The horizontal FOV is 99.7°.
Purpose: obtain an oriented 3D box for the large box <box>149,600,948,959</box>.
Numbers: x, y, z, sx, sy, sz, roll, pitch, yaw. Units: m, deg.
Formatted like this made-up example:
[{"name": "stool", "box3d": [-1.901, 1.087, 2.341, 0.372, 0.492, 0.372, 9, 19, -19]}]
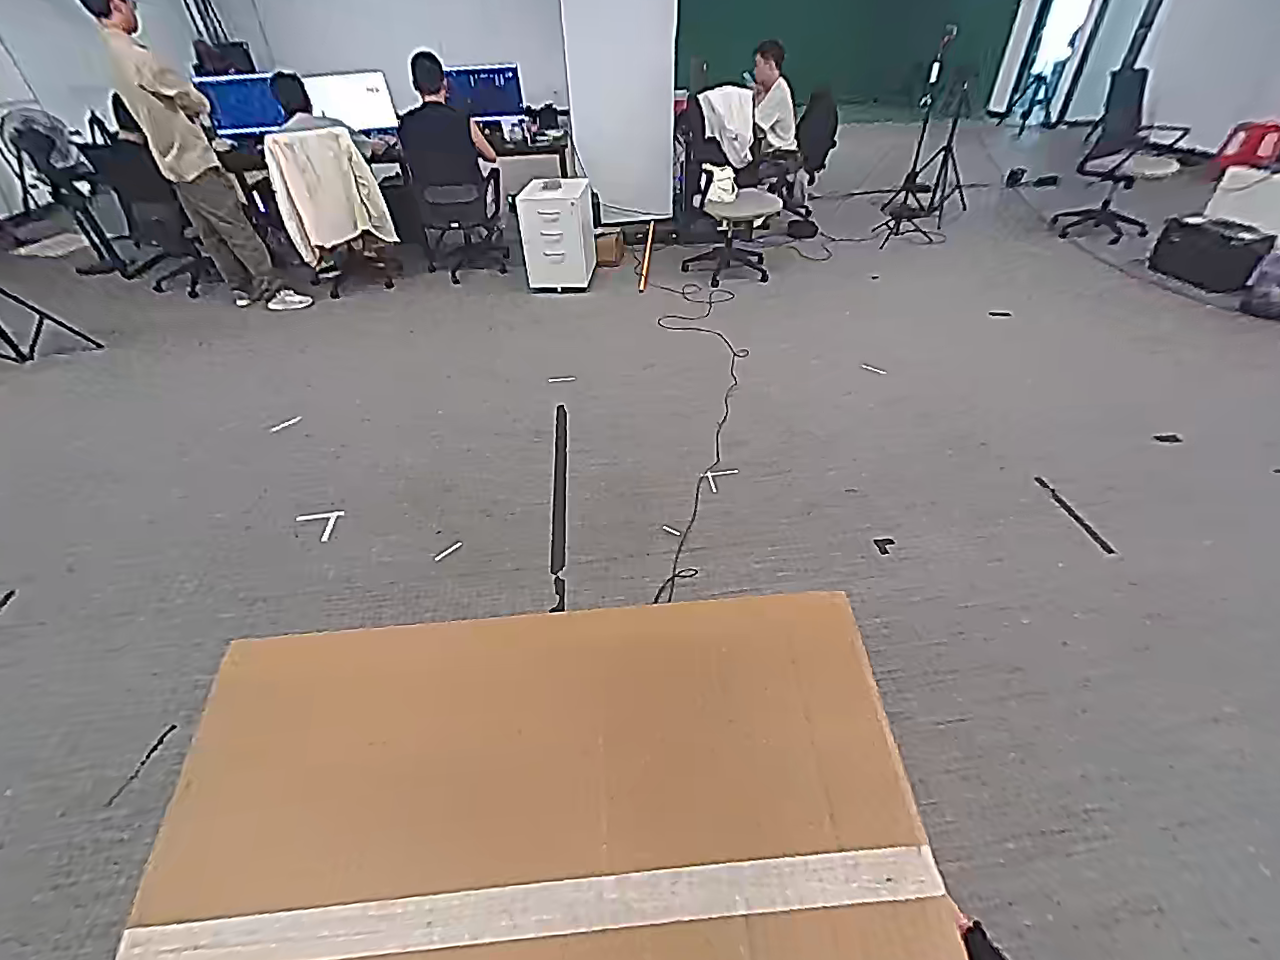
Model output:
[{"name": "large box", "box3d": [-0.047, 0.311, 0.398, 0.408, 0.320, 0.320, -4, 55, -2]}]
